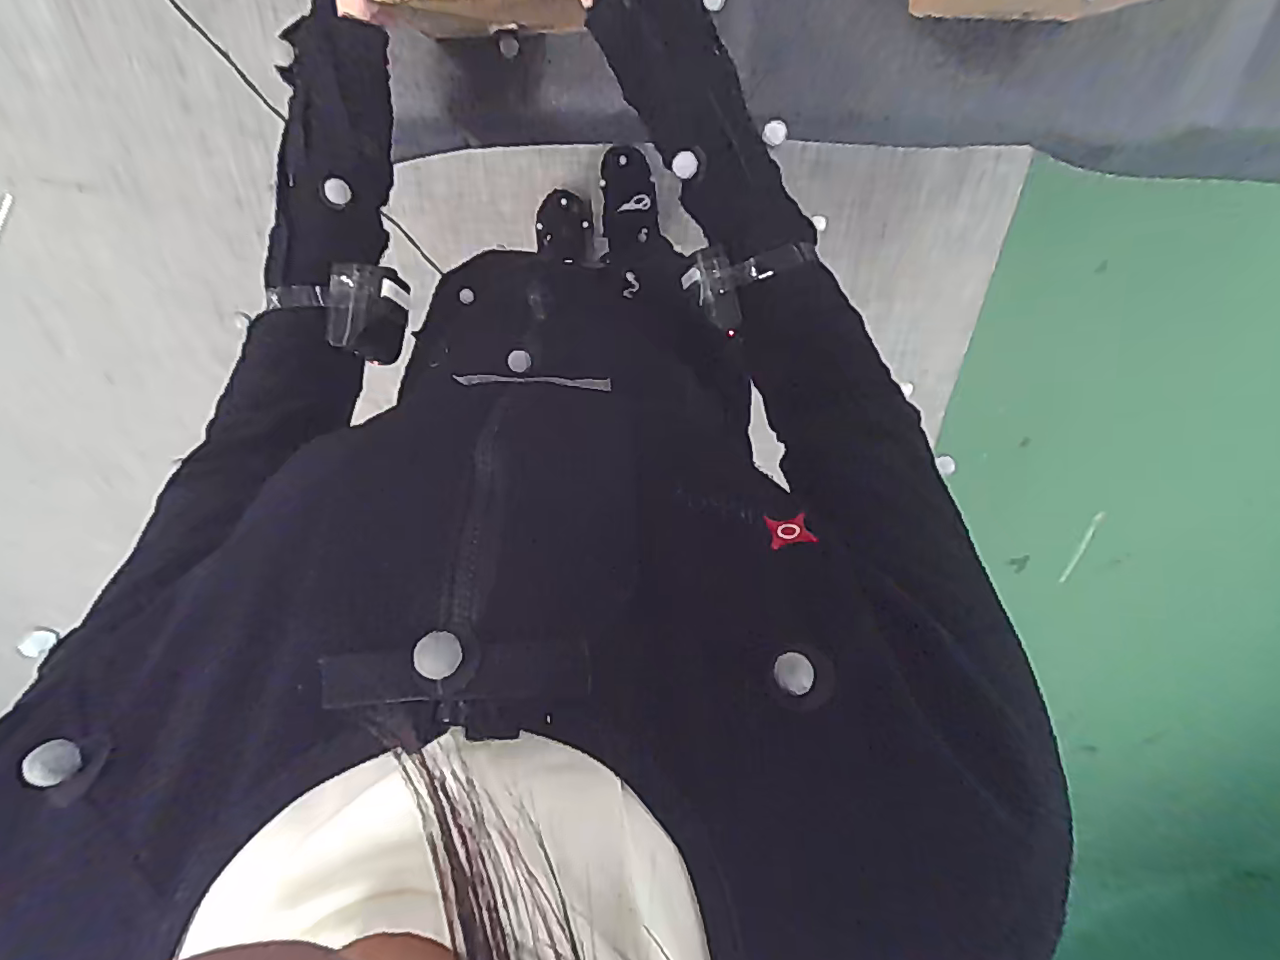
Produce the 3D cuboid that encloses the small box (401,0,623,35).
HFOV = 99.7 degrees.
[{"bbox_3d":[-0.095,-0.409,0.341,0.168,0.176,0.179,-3,122,-2],"label":"small box"}]

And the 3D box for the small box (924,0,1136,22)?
[{"bbox_3d":[0.330,-0.455,0.378,0.168,0.176,0.179,-2,121,-4],"label":"small box"}]
